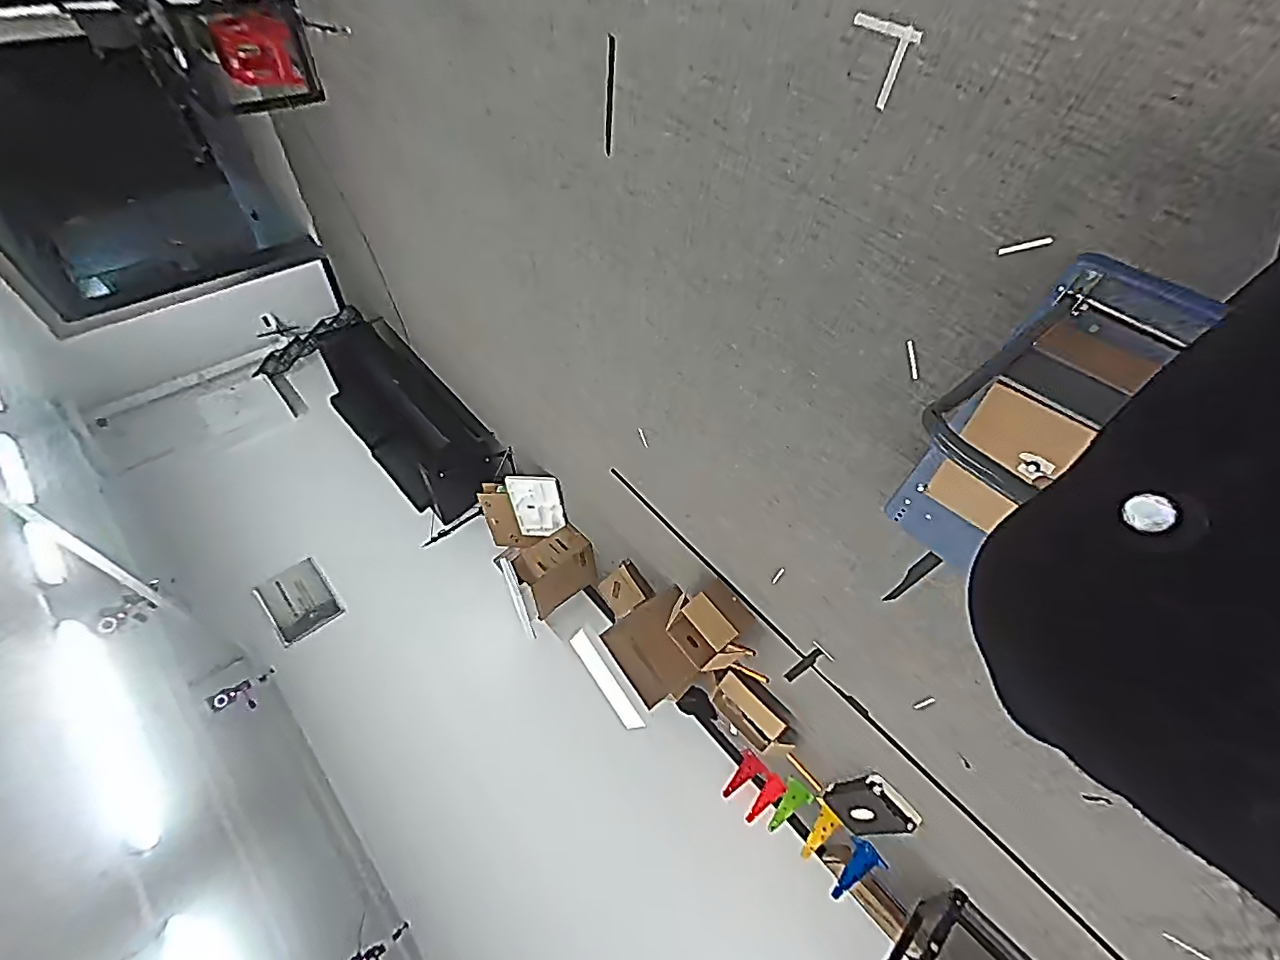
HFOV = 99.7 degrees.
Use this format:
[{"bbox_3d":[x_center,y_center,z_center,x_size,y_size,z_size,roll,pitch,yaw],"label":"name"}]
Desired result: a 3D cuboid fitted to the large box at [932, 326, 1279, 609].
[{"bbox_3d":[0.891,-0.039,1.055,0.408,0.320,0.320,41,148,29],"label":"large box"}]
